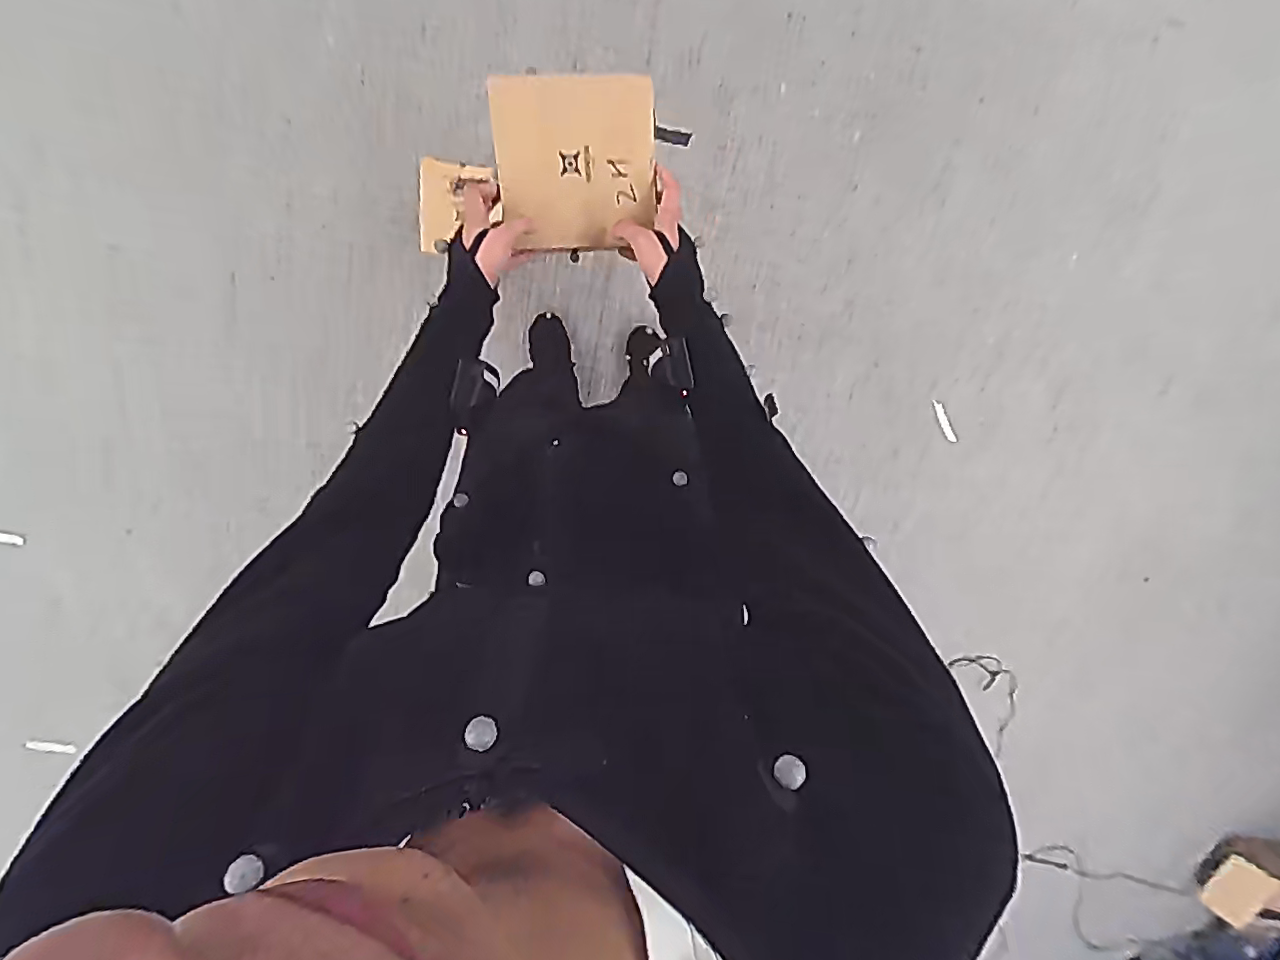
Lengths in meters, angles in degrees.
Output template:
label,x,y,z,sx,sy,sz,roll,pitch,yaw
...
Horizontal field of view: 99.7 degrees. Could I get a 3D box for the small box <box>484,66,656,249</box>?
label,x,y,z,sx,sy,sz,roll,pitch,yaw
small box,-0.080,-0.374,0.655,0.179,0.176,0.168,-5,112,-7

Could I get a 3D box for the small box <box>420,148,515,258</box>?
label,x,y,z,sx,sy,sz,roll,pitch,yaw
small box,-0.359,-0.580,1.155,0.168,0.176,0.179,7,111,-5
